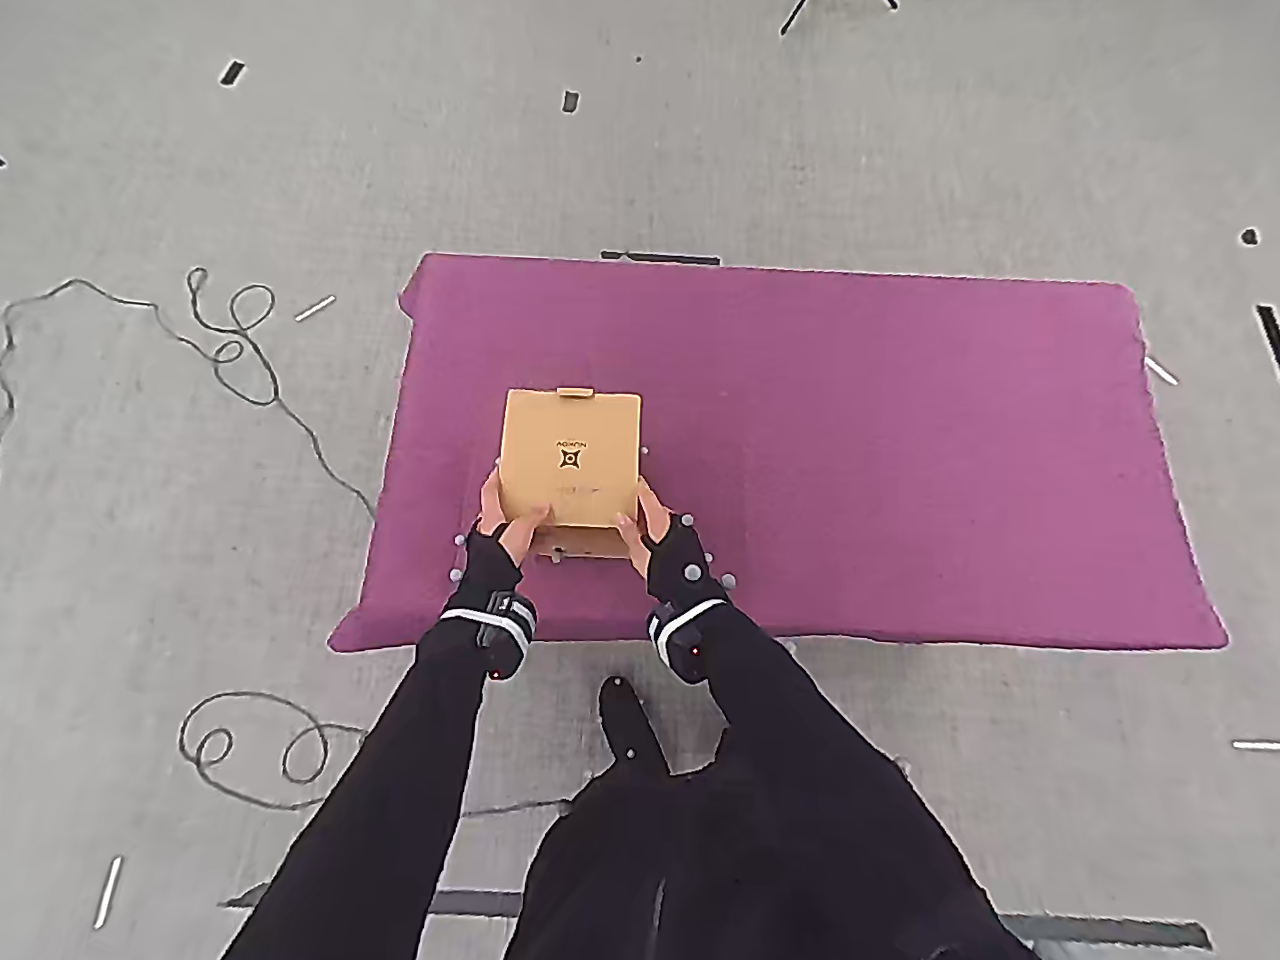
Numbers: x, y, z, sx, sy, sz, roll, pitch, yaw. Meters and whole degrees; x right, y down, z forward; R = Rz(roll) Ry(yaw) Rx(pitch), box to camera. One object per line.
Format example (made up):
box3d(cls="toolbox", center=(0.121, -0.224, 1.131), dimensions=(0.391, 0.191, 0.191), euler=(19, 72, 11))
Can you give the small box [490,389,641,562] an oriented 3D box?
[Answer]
box3d(cls="small box", center=(-0.089, 0.001, 0.712), dimensions=(0.168, 0.176, 0.179), euler=(3, 70, -2))
